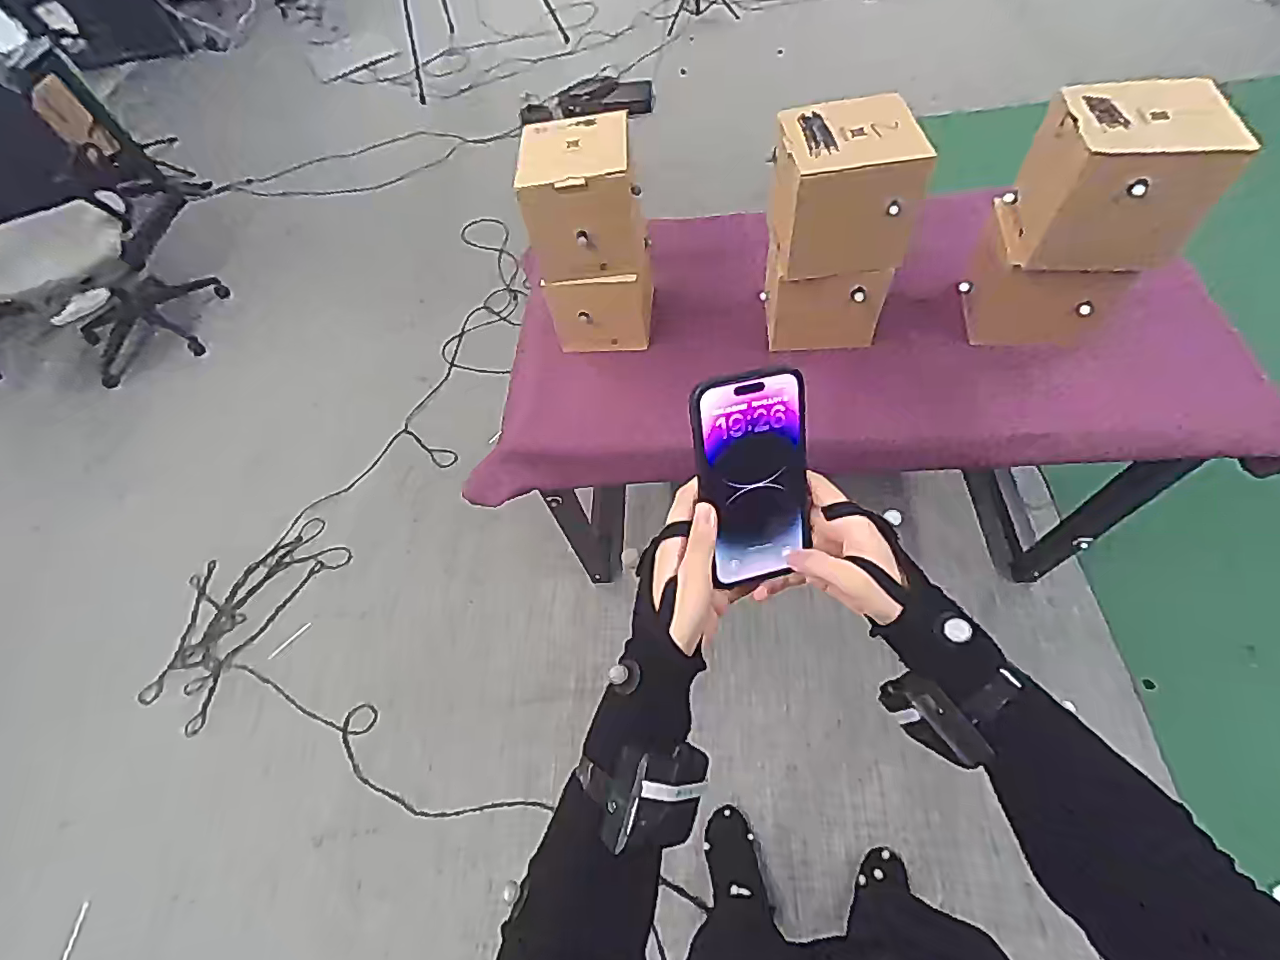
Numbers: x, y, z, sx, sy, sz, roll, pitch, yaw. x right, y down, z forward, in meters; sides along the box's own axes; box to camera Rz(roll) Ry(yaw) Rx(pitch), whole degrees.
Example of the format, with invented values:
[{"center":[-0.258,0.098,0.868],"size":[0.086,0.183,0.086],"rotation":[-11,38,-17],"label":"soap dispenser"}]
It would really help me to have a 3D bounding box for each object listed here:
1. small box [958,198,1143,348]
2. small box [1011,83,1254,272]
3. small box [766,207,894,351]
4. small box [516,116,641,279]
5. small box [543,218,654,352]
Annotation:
[{"center":[0.653,-0.334,0.886],"size":[0.179,0.176,0.168],"rotation":[5,60,12],"label":"small box"},{"center":[0.640,-0.405,0.738],"size":[0.179,0.176,0.168],"rotation":[5,60,11],"label":"small box"},{"center":[0.318,-0.342,0.941],"size":[0.179,0.176,0.168],"rotation":[-1,59,8],"label":"small box"},{"center":[-0.089,-0.445,0.874],"size":[0.168,0.176,0.179],"rotation":[-4,59,5],"label":"small box"},{"center":[-0.067,-0.354,1.010],"size":[0.168,0.176,0.179],"rotation":[0,59,9],"label":"small box"}]
